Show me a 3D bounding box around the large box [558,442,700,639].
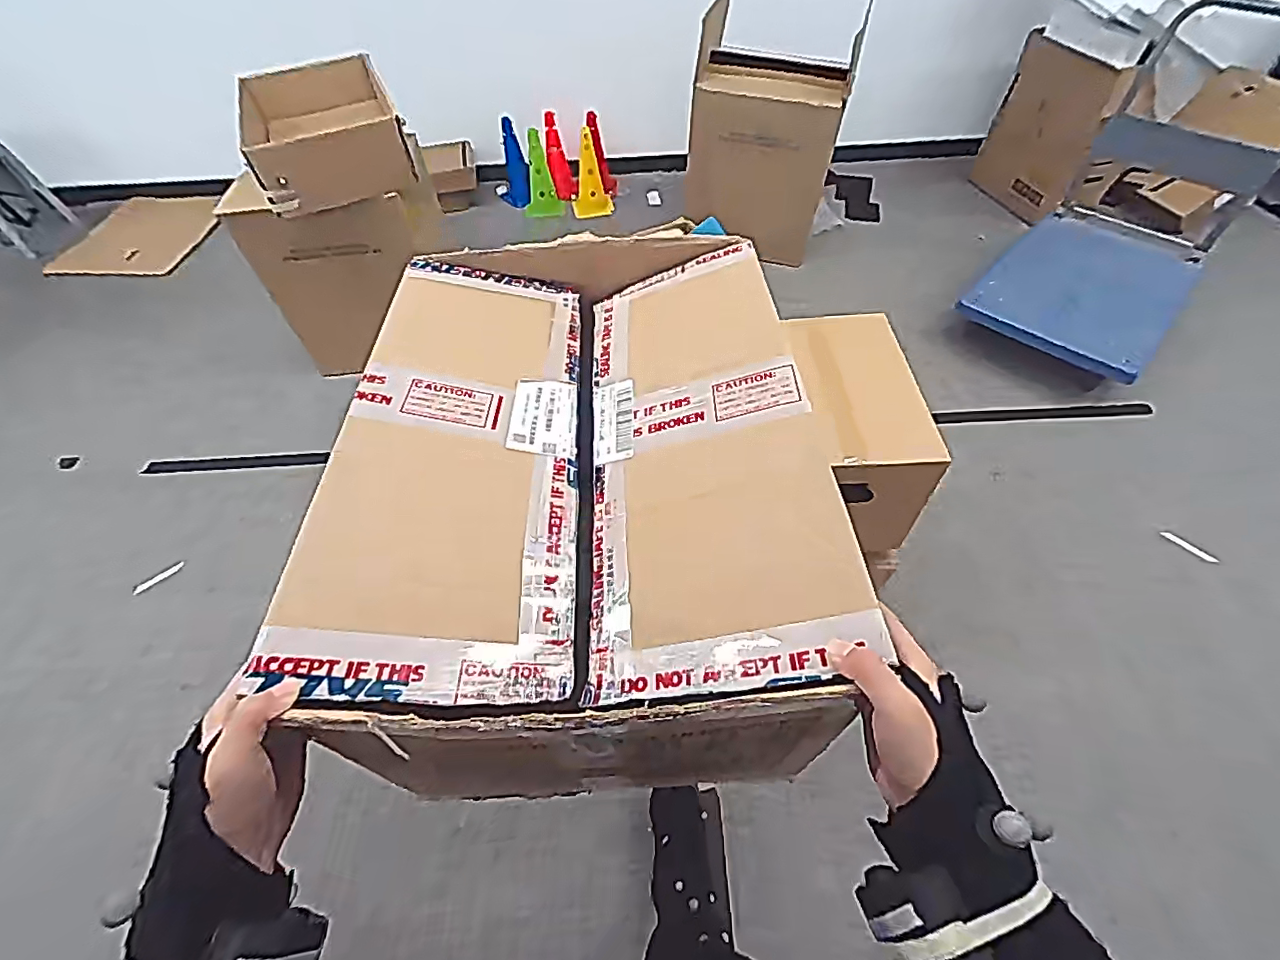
[{"bbox_3d":[-0.035,0.156,1.395,0.320,0.320,0.408,-4,54,0],"label":"large box"}]
